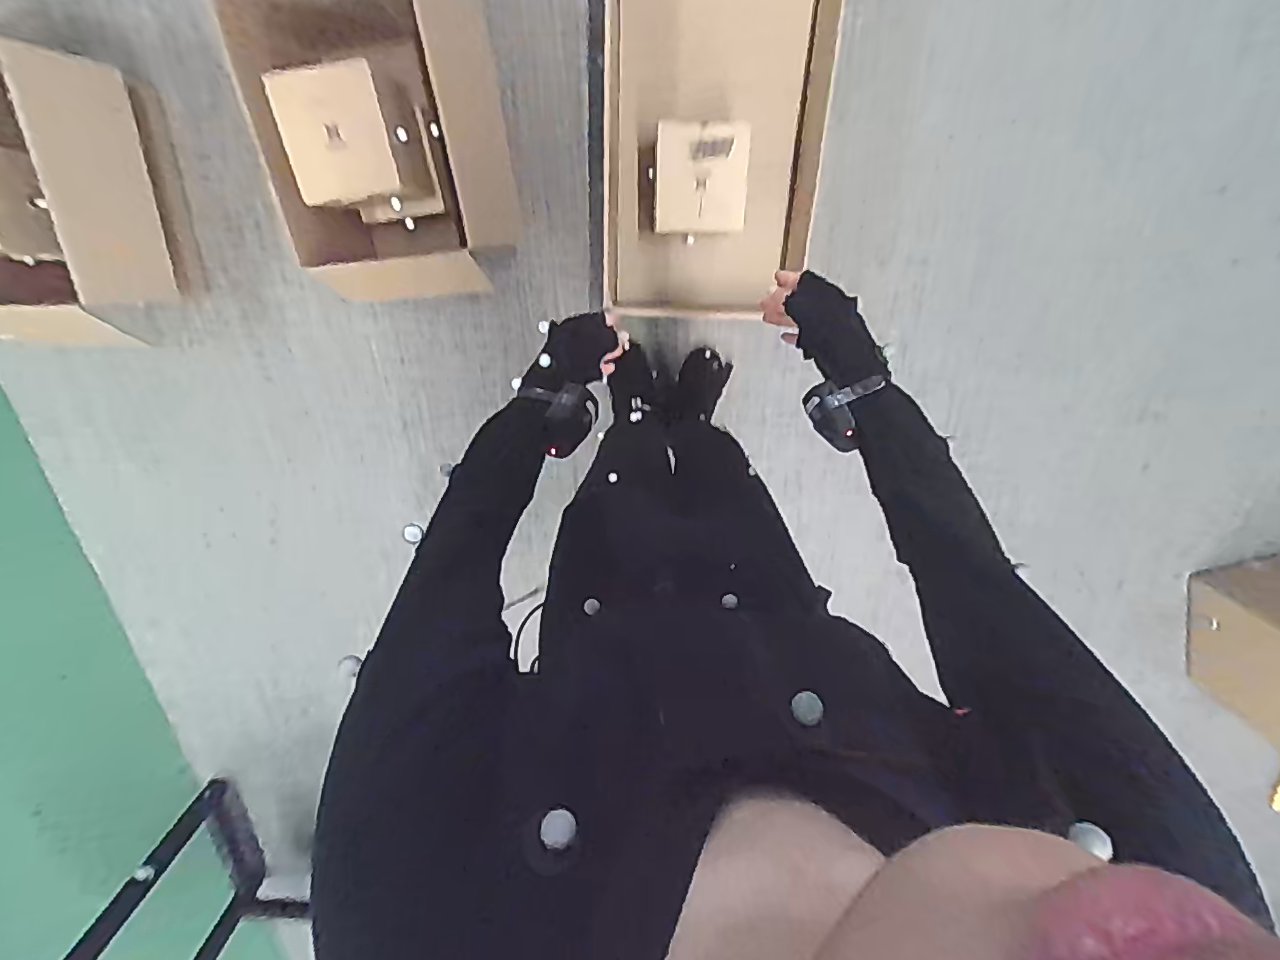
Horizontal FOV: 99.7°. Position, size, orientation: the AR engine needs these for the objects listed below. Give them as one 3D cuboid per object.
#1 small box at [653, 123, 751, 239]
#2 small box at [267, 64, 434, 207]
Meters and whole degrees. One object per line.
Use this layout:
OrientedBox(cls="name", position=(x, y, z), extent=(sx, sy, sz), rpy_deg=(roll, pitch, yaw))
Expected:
OrientedBox(cls="small box", position=(0.111, -0.568, 1.048), extent=(0.168, 0.176, 0.179), rpy_deg=(1, 112, 0))
OrientedBox(cls="small box", position=(-0.470, -0.565, 0.913), extent=(0.168, 0.176, 0.179), rpy_deg=(-6, 114, 3))
